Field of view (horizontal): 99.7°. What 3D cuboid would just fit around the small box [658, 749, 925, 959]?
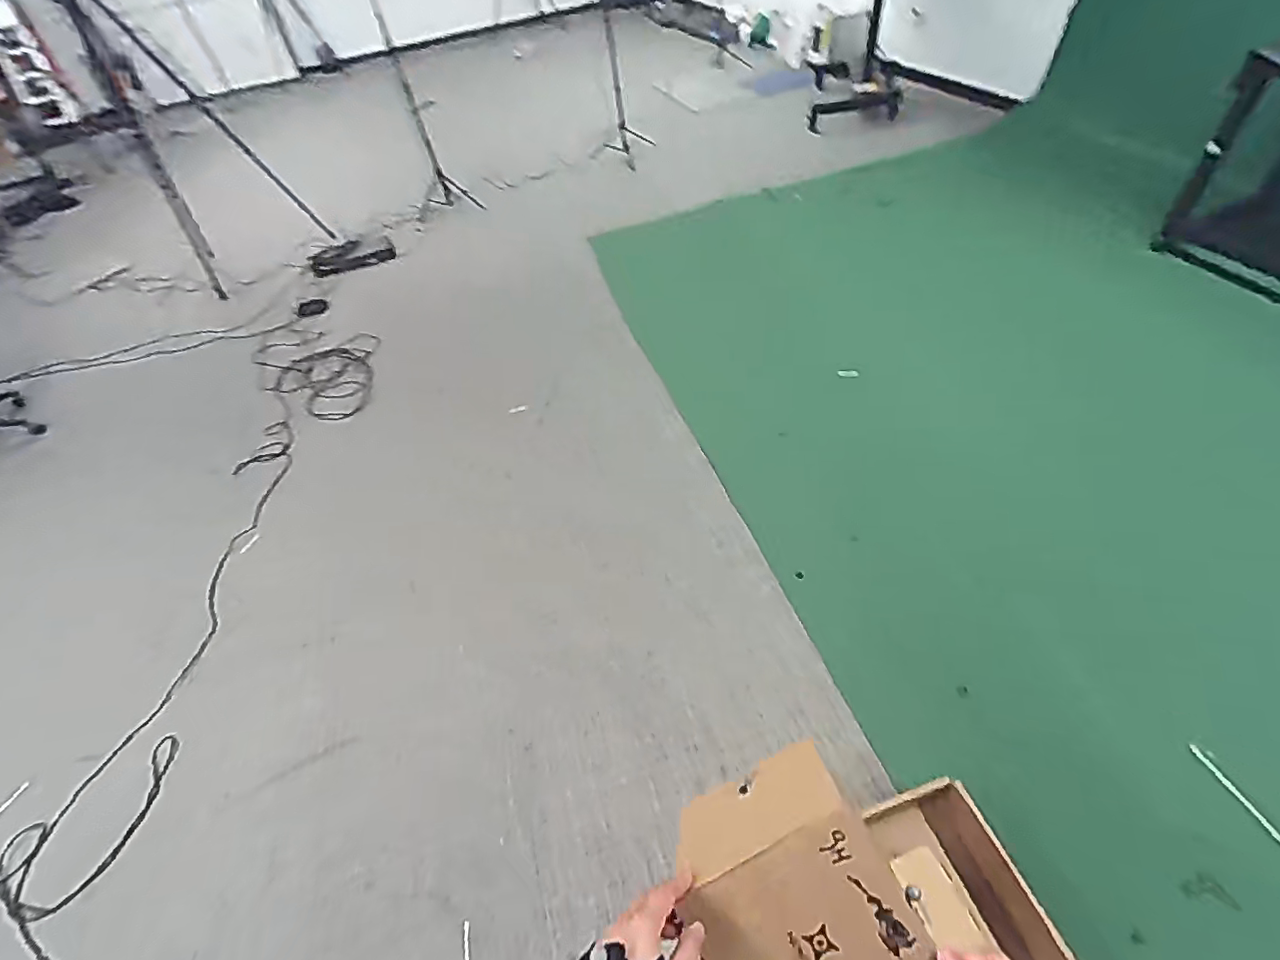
[{"bbox_3d":[0.140,0.397,0.514,0.179,0.176,0.168,-33,80,3],"label":"small box"}]
